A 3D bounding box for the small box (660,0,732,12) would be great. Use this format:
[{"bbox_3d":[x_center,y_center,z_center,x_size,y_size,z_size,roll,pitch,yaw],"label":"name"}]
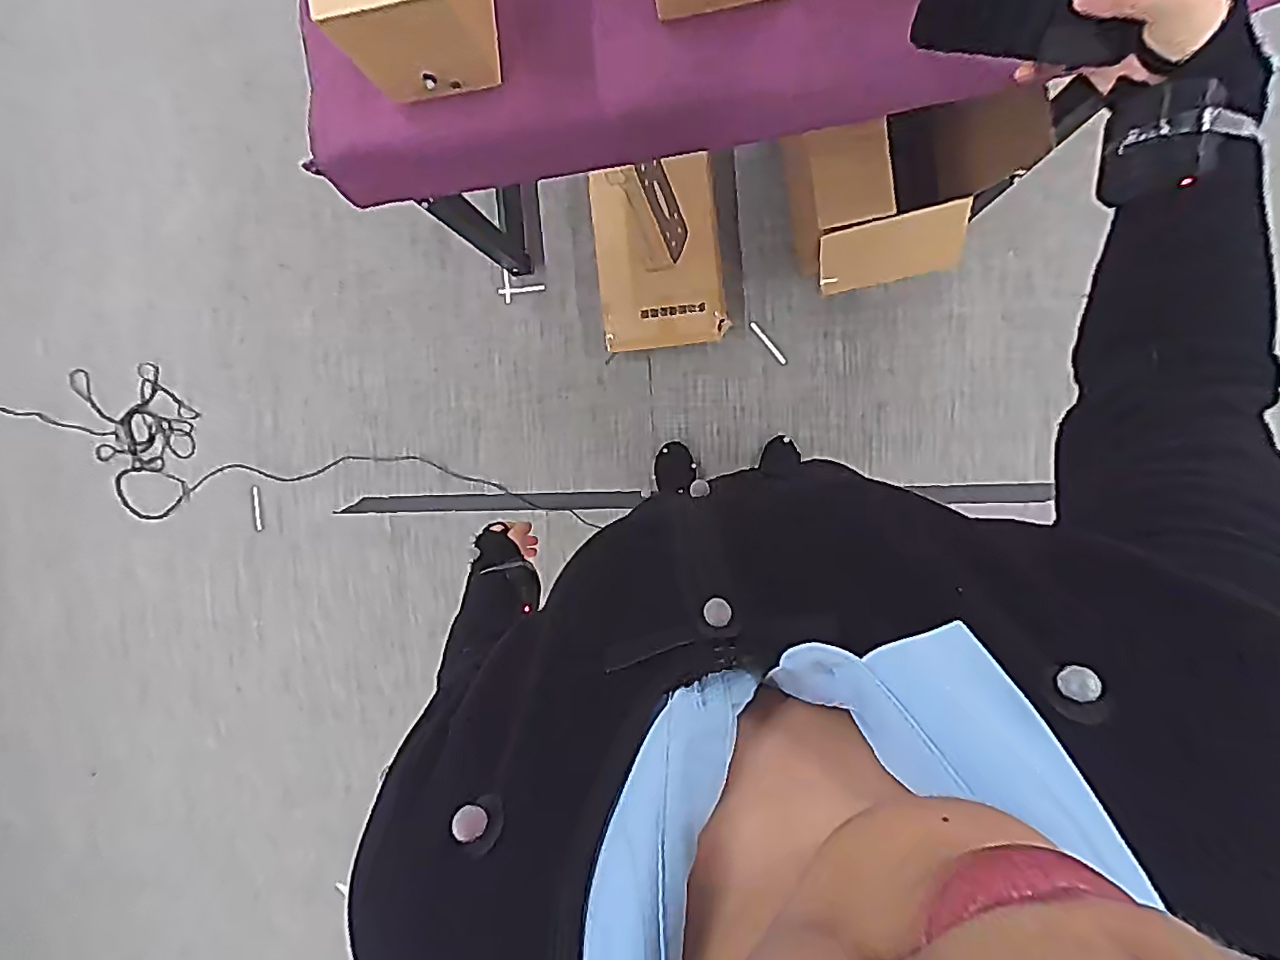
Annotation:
[{"bbox_3d":[0.097,-0.689,0.612,0.179,0.176,0.168,-5,92,9],"label":"small box"}]
